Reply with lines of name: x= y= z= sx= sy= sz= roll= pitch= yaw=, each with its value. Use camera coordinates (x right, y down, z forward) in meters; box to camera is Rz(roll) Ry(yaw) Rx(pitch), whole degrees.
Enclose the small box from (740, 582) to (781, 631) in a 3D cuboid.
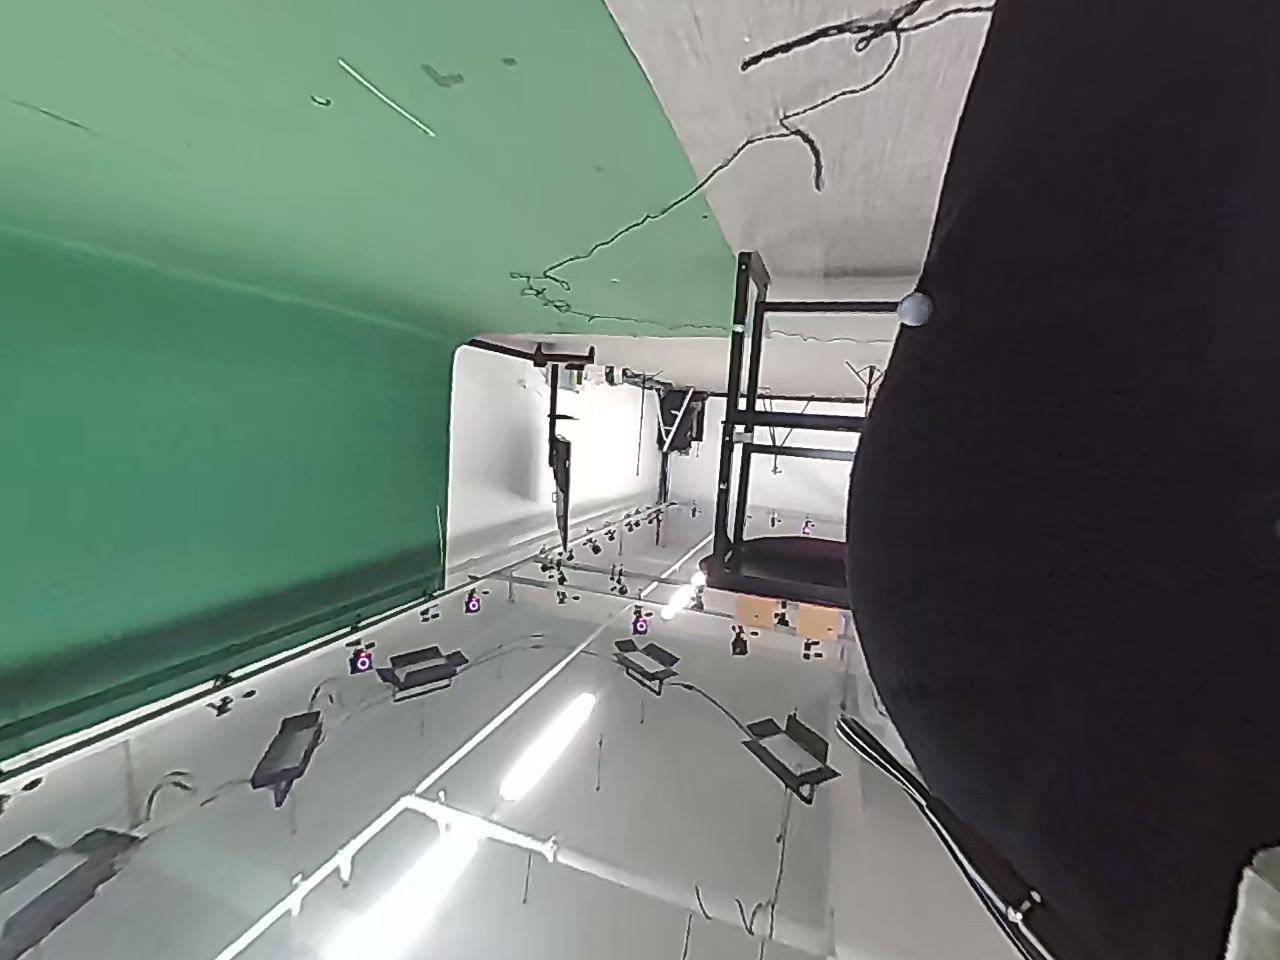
small box: x=0.559 y=0.578 z=2.494 sx=0.179 sy=0.176 sz=0.168 roll=5 pitch=-175 yaw=16
